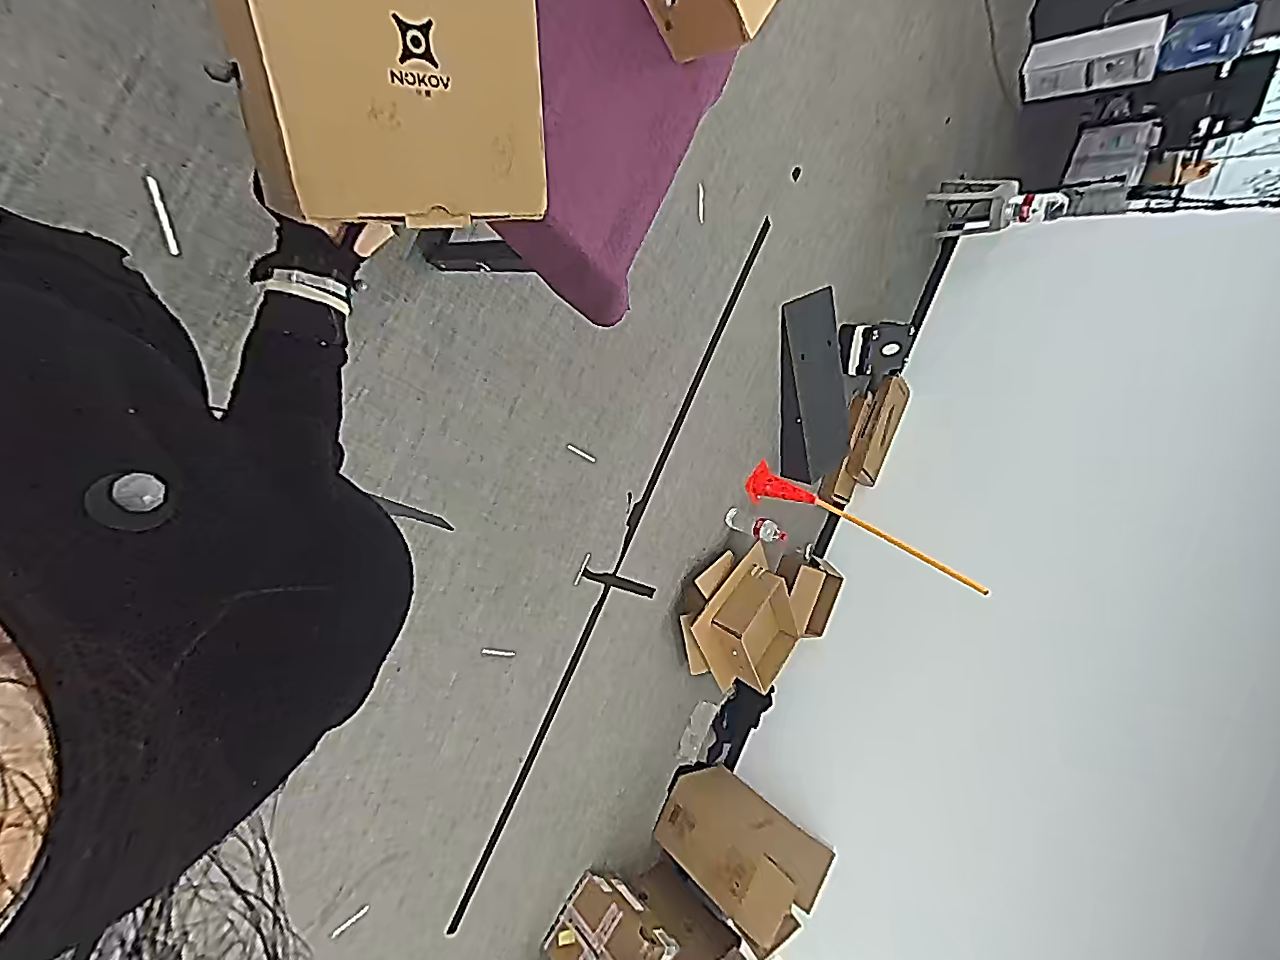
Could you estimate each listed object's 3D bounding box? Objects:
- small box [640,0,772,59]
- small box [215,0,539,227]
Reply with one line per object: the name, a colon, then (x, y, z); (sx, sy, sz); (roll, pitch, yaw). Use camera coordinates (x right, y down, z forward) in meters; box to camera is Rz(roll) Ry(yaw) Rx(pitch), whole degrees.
small box: (0.110, -0.820, 0.855); (0.168, 0.176, 0.179); (36, 83, -48)
small box: (-0.187, -0.287, 0.389); (0.168, 0.176, 0.179); (-19, 126, -33)
